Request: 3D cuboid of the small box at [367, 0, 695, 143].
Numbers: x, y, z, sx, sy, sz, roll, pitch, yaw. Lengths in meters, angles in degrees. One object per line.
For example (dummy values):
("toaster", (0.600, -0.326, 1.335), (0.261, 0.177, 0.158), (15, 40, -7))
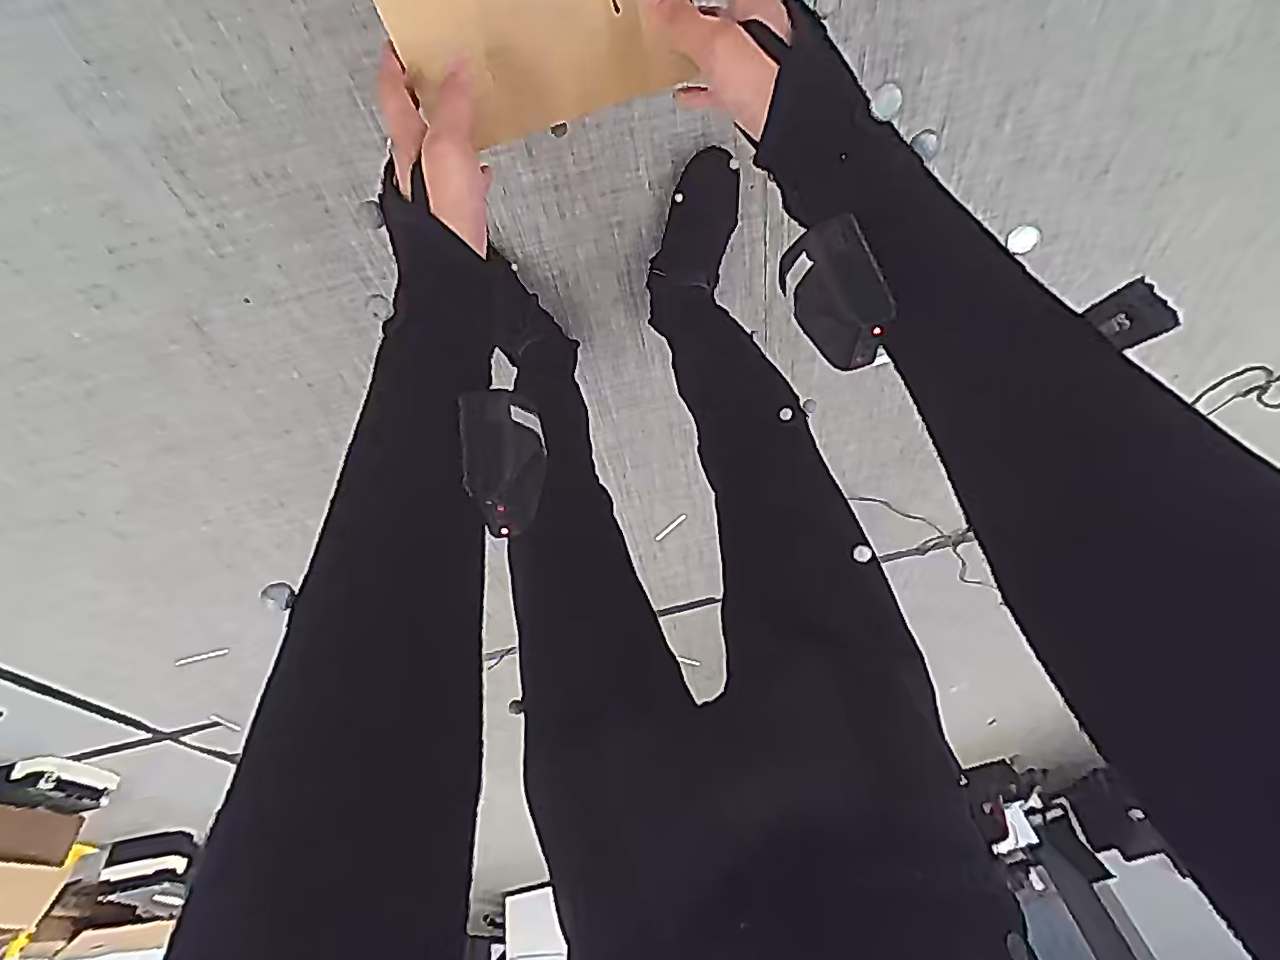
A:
("small box", (-0.079, -0.343, 0.336), (0.179, 0.176, 0.168), (-17, 136, 2))
